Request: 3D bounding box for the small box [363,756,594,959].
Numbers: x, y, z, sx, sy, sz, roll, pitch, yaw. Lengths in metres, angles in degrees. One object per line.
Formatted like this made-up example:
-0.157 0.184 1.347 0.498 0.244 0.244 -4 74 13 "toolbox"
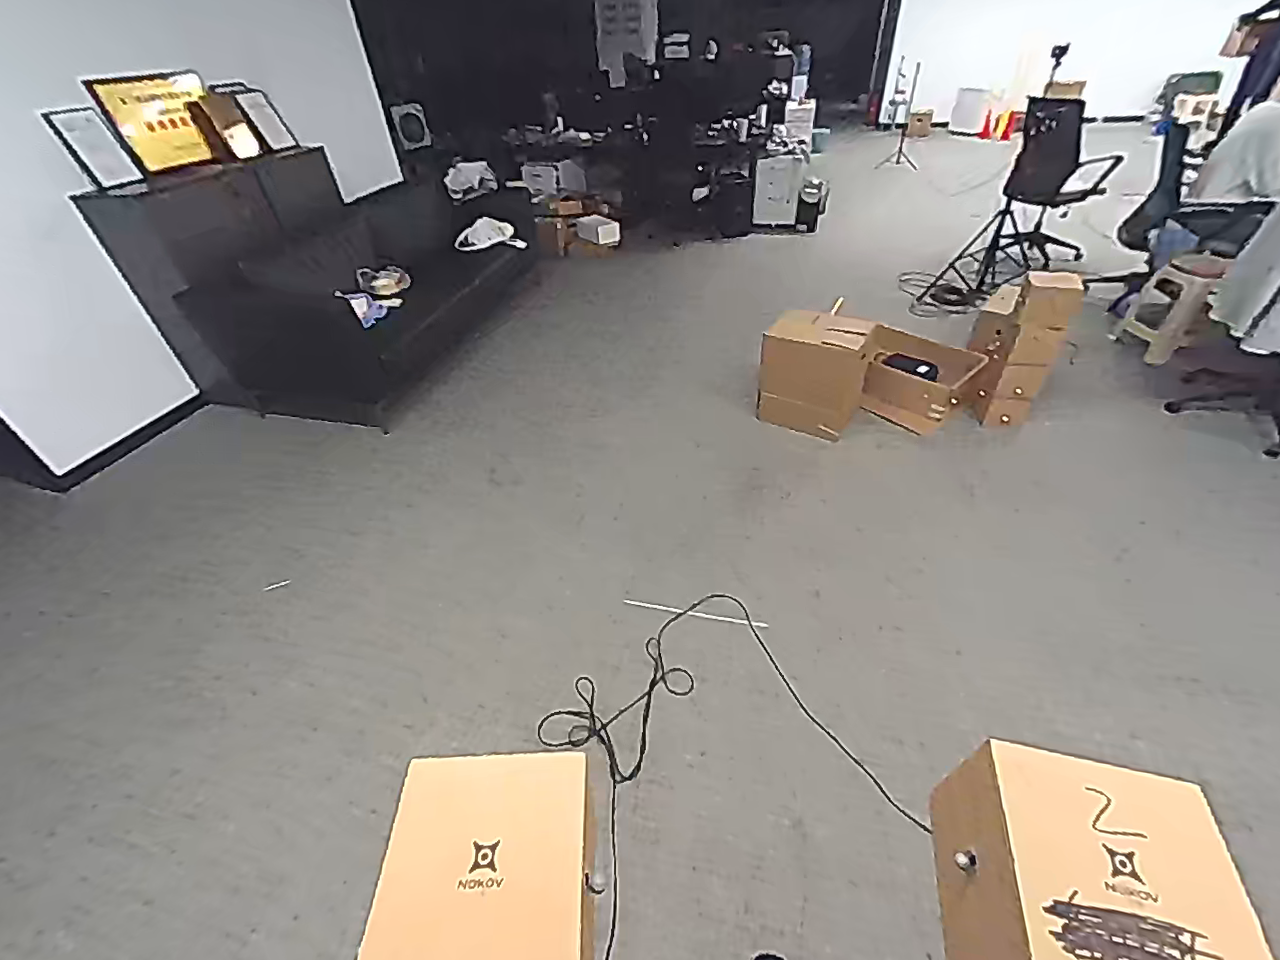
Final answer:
-0.130 0.384 0.503 0.168 0.176 0.179 -1 40 -2 "small box"
